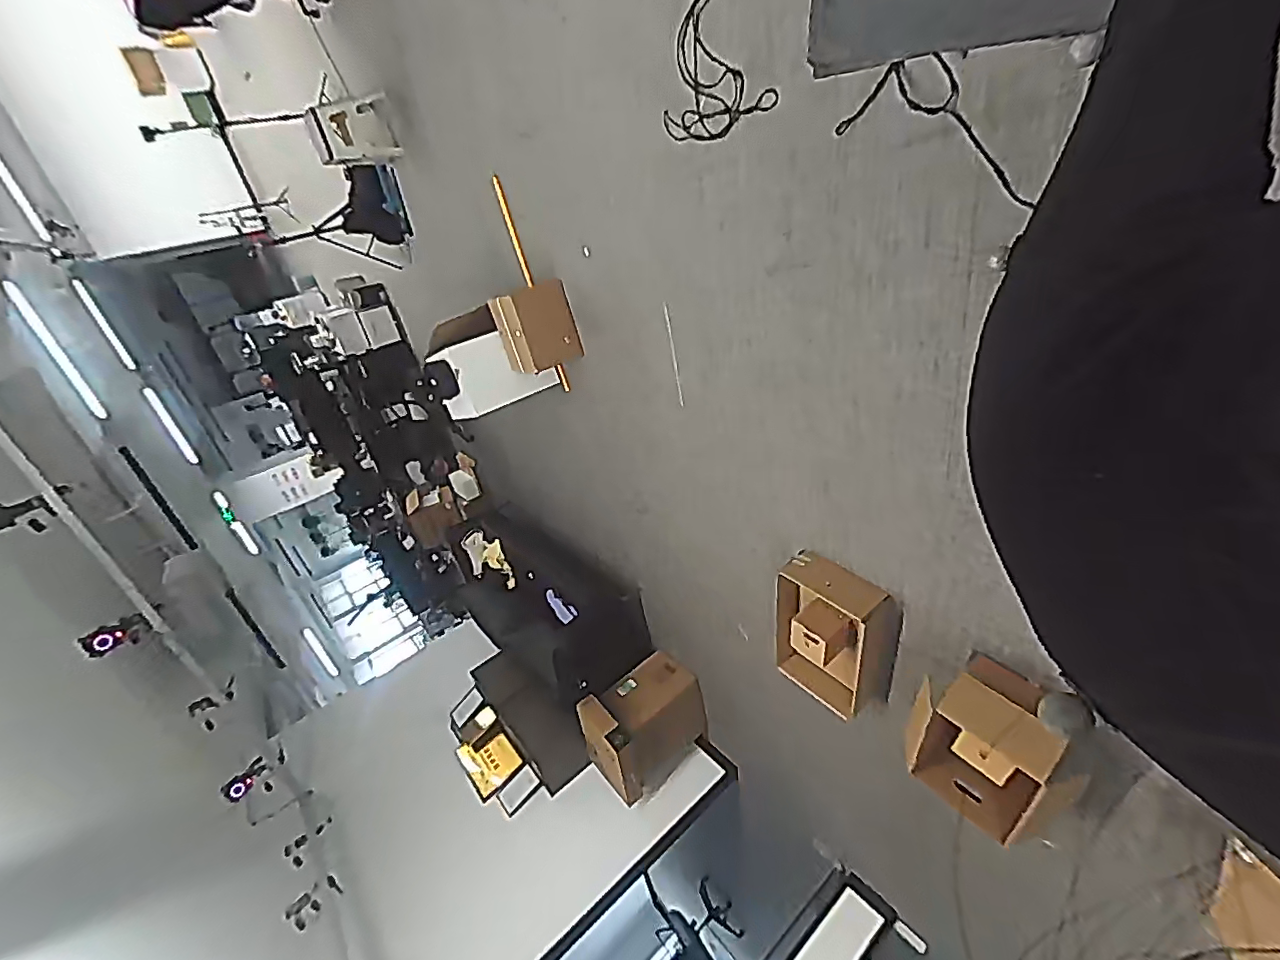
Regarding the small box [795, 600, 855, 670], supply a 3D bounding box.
[{"bbox_3d":[0.758,0.628,2.211,0.168,0.176,0.179,32,142,43],"label":"small box"}]
